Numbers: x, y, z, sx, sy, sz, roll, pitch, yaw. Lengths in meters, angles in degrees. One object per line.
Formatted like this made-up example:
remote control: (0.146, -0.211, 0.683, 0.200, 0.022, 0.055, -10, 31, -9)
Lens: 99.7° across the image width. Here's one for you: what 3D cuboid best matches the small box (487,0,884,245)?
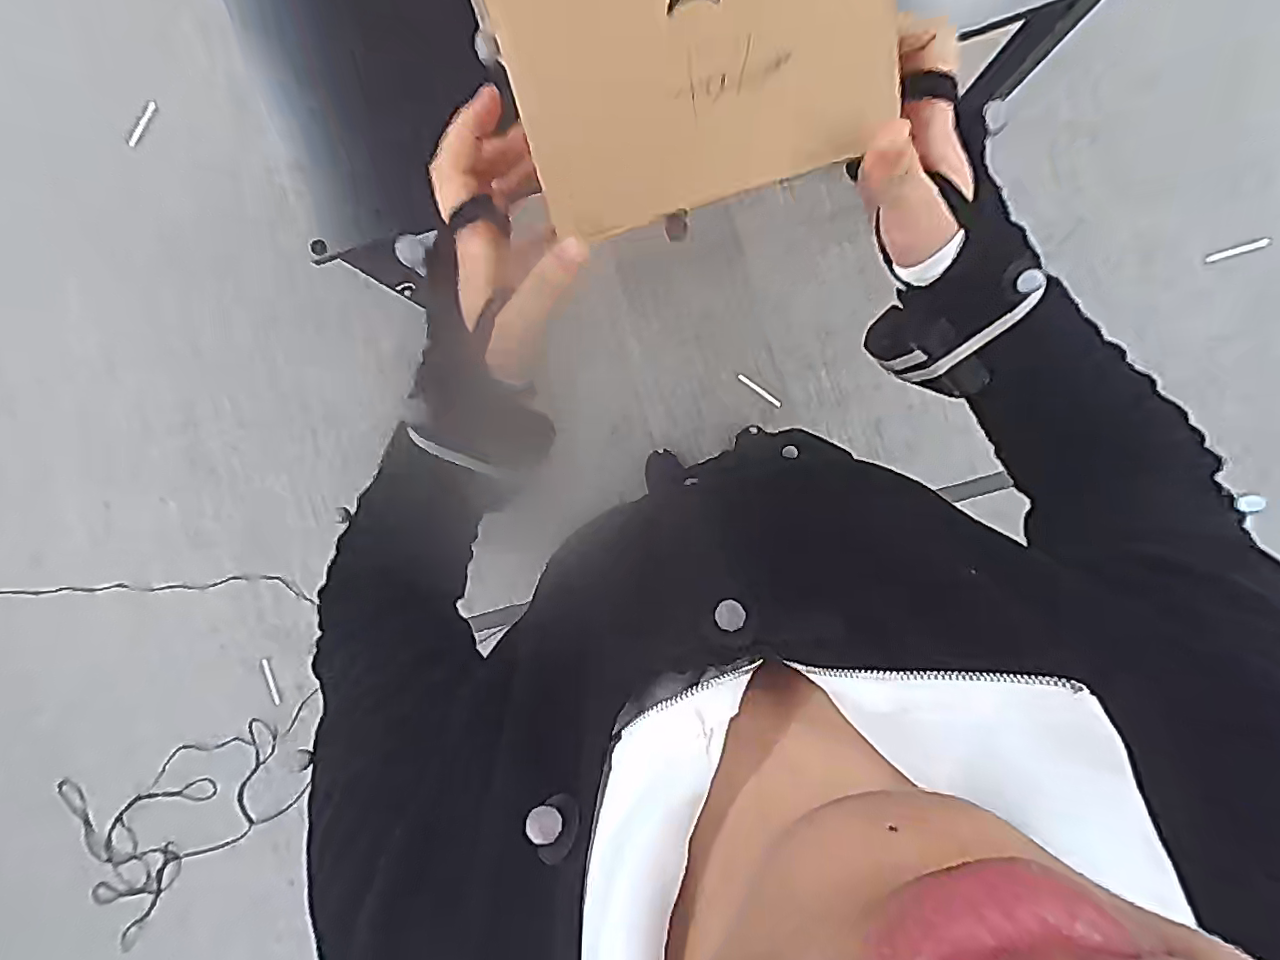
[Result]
small box: (0.012, -0.242, 0.302, 0.168, 0.176, 0.179, -15, 114, 4)
